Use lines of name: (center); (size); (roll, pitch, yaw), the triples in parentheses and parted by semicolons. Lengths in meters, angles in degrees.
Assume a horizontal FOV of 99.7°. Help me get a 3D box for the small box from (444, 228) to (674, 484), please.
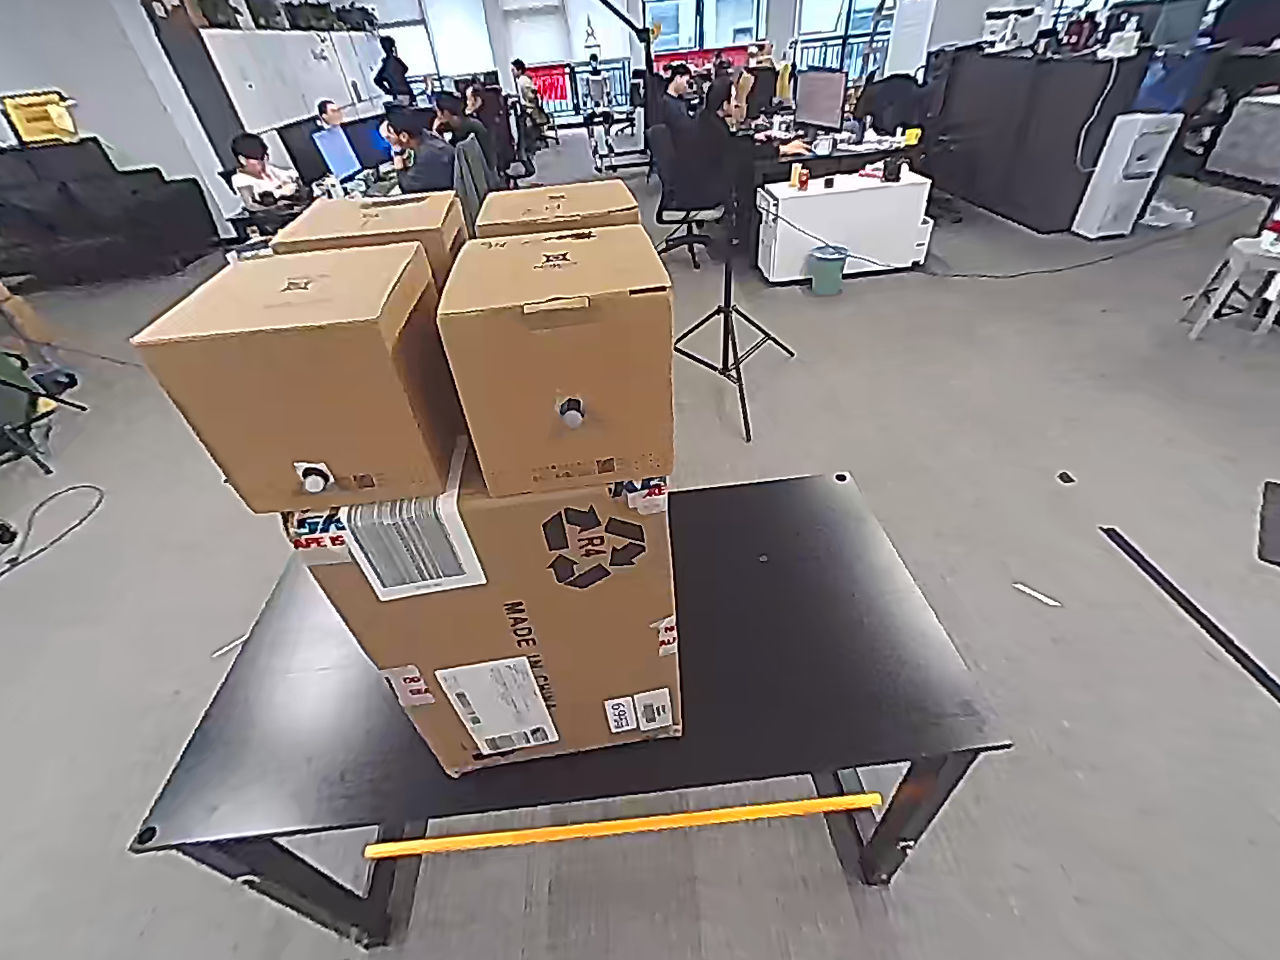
small box: (-0.061, -0.109, 0.488); (0.168, 0.176, 0.179); (-6, 41, -5)
